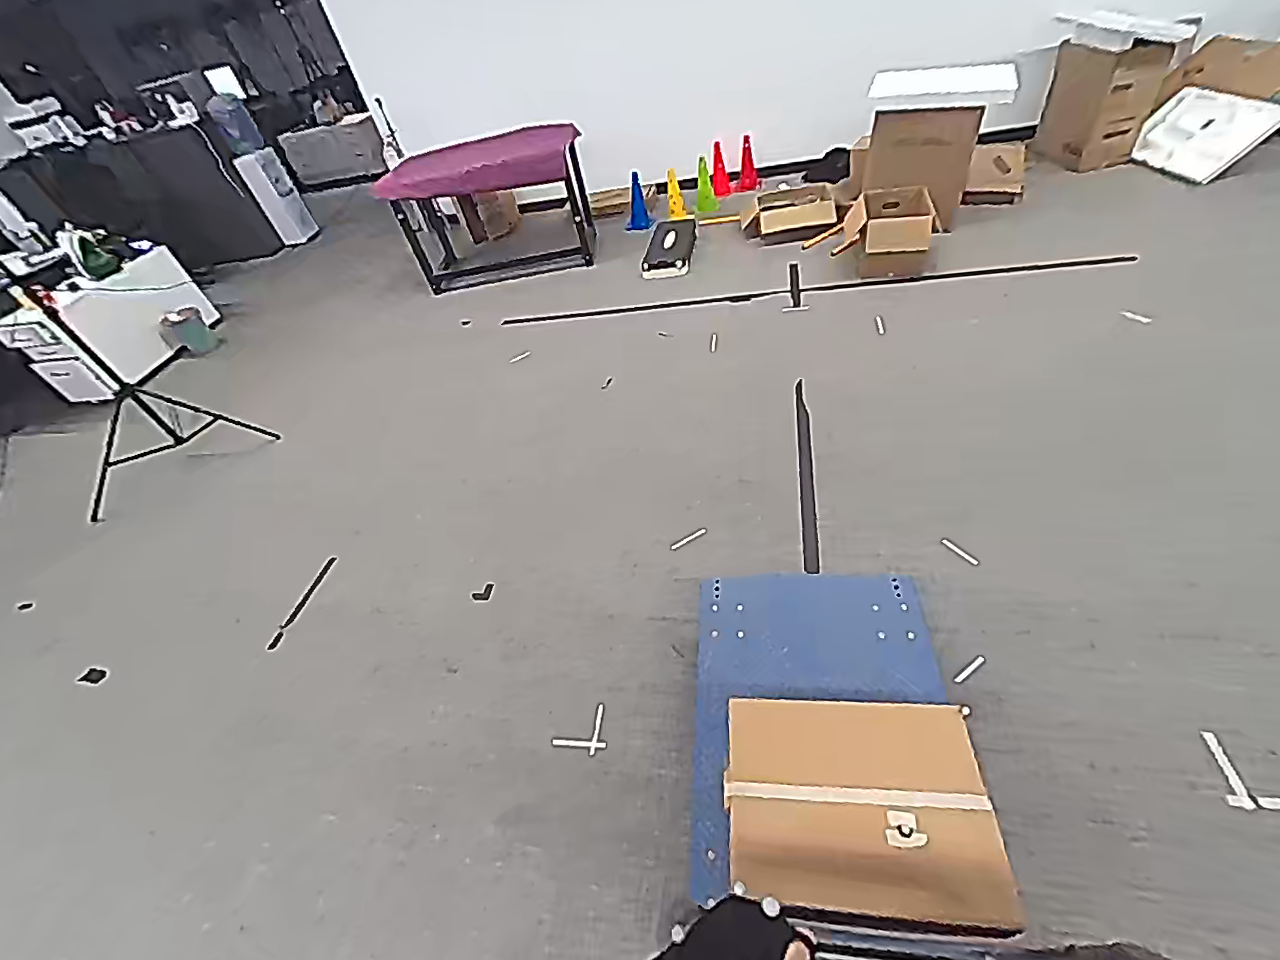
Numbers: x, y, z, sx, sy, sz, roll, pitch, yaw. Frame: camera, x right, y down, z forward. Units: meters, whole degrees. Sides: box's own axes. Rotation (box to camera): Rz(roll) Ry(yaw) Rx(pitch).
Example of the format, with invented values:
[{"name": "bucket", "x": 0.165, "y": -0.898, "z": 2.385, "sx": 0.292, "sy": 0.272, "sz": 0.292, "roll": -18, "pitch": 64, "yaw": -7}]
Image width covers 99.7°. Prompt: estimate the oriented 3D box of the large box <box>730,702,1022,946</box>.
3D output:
[{"name": "large box", "x": 0.379, "y": 0.627, "z": 0.996, "sx": 0.408, "sy": 0.320, "sz": 0.320, "roll": -3, "pitch": 46, "yaw": 11}]
